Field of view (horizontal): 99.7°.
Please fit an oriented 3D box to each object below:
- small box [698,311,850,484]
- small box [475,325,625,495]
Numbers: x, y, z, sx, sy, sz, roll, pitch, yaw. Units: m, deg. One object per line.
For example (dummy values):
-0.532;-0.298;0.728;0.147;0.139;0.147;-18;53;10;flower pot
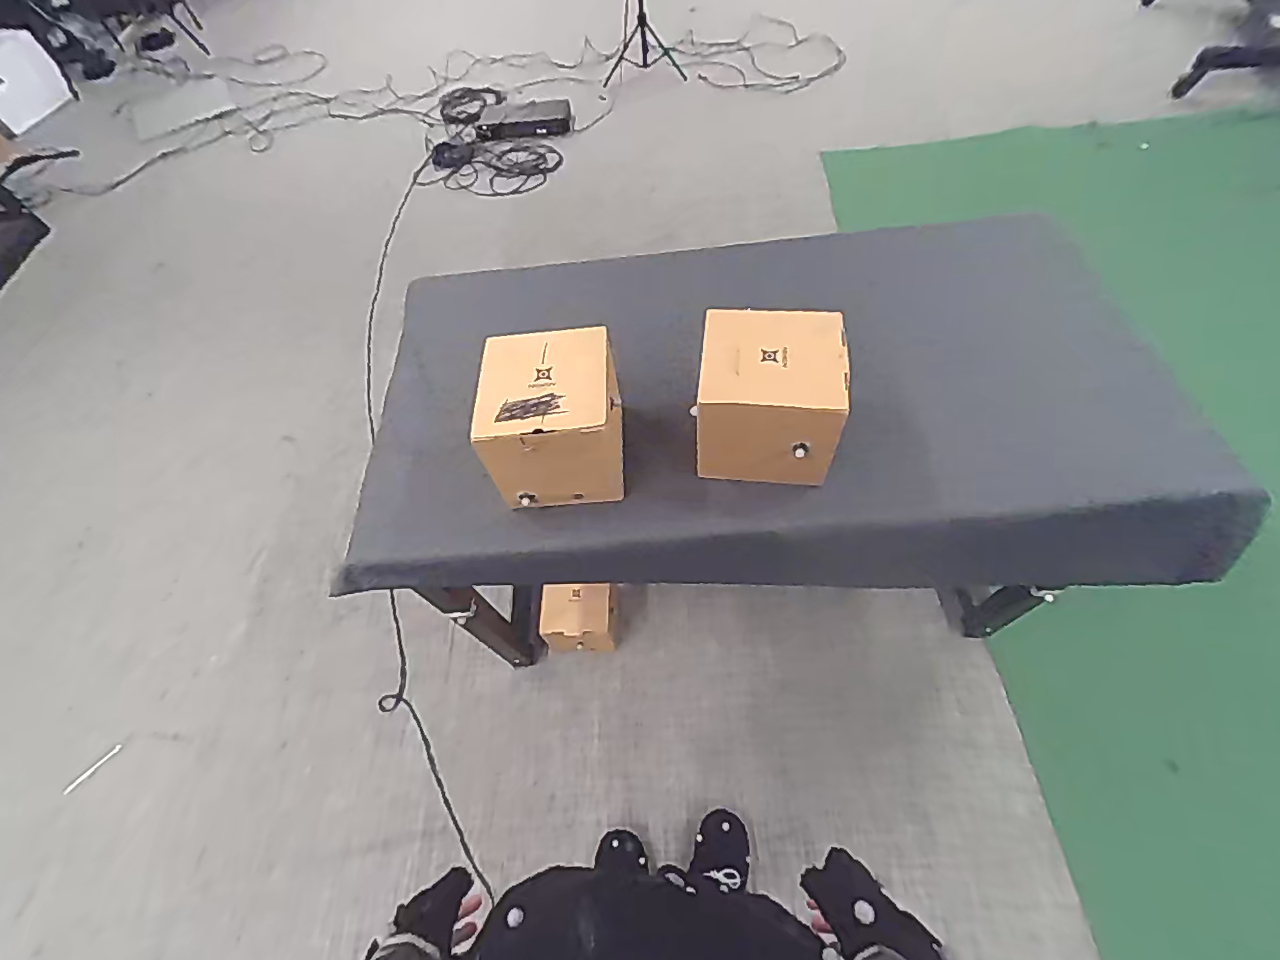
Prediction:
0.175;-0.108;0.739;0.179;0.176;0.168;4;59;9;small box
-0.111;-0.088;0.751;0.168;0.176;0.179;-3;57;3;small box
